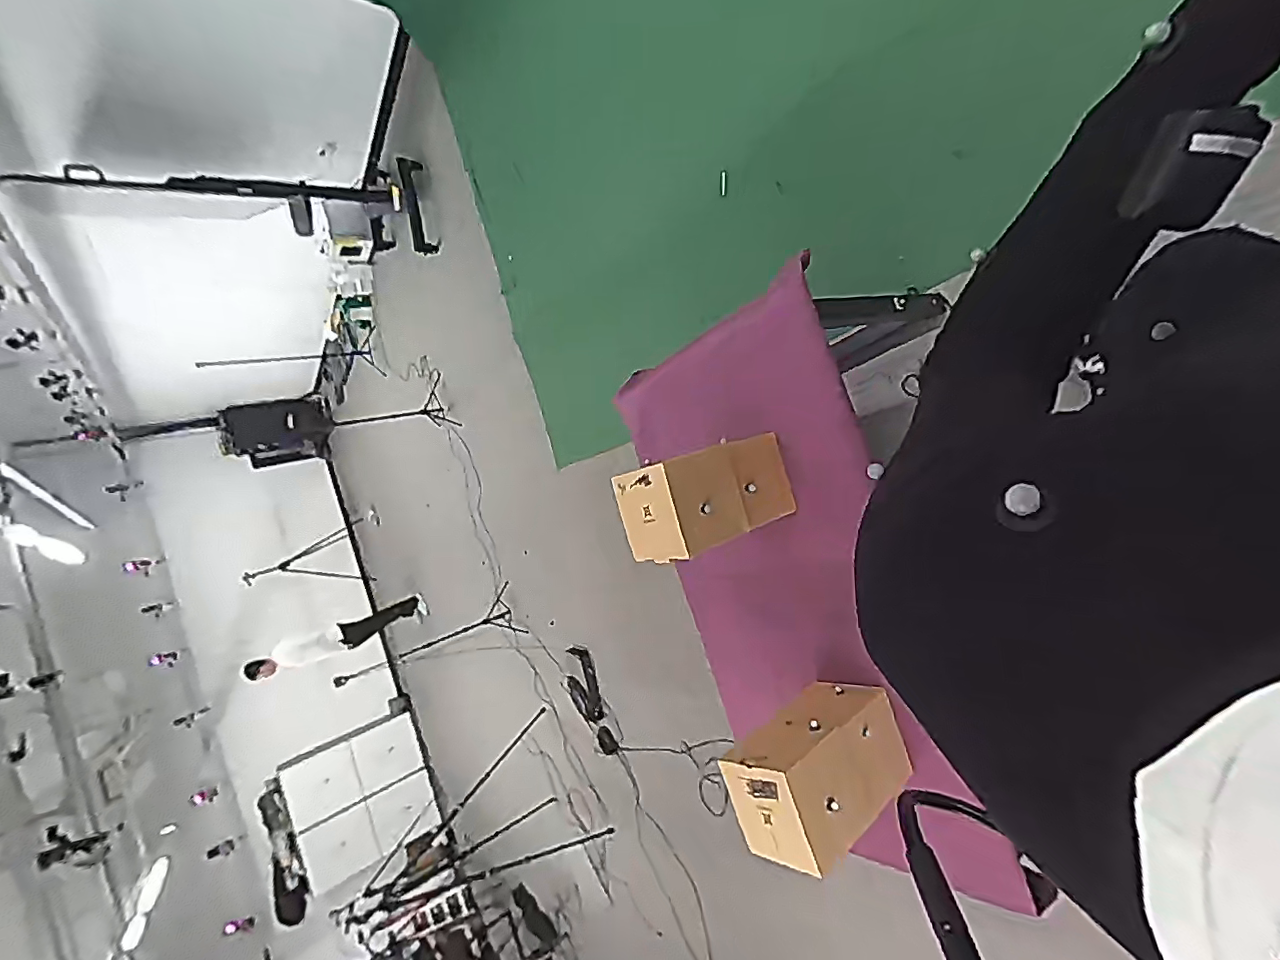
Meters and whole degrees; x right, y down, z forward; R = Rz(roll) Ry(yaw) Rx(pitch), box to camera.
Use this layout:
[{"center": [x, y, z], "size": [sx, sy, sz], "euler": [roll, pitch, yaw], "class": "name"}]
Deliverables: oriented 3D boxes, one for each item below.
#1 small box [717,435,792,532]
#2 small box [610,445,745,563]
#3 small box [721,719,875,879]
[{"center": [0.191, 0.009, 1.142], "size": [0.168, 0.176, 0.179], "euler": [-15, 93, 51], "class": "small box"}, {"center": [0.075, 0.046, 1.031], "size": [0.168, 0.176, 0.179], "euler": [-15, 93, 51], "class": "small box"}, {"center": [0.282, 0.550, 0.965], "size": [0.168, 0.176, 0.179], "euler": [-27, 83, 51], "class": "small box"}]
